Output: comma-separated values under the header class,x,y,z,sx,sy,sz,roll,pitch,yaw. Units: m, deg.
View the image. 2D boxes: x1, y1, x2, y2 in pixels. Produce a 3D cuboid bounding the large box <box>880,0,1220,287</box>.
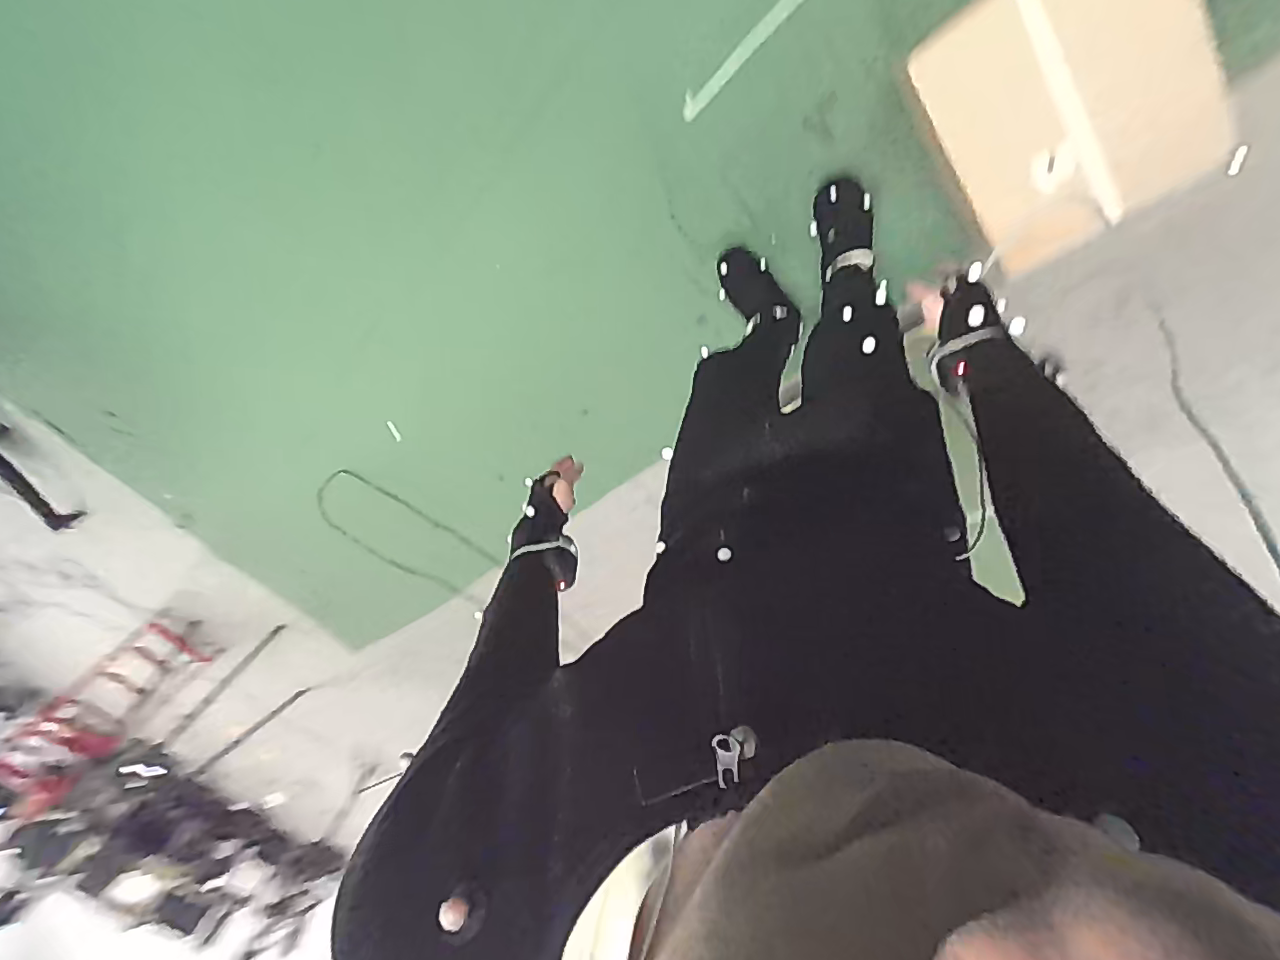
class,x,y,z,sx,sy,sz,roll,pitch,yaw
large box,0.679,-0.635,0.954,0.320,0.320,0.408,-29,113,33
